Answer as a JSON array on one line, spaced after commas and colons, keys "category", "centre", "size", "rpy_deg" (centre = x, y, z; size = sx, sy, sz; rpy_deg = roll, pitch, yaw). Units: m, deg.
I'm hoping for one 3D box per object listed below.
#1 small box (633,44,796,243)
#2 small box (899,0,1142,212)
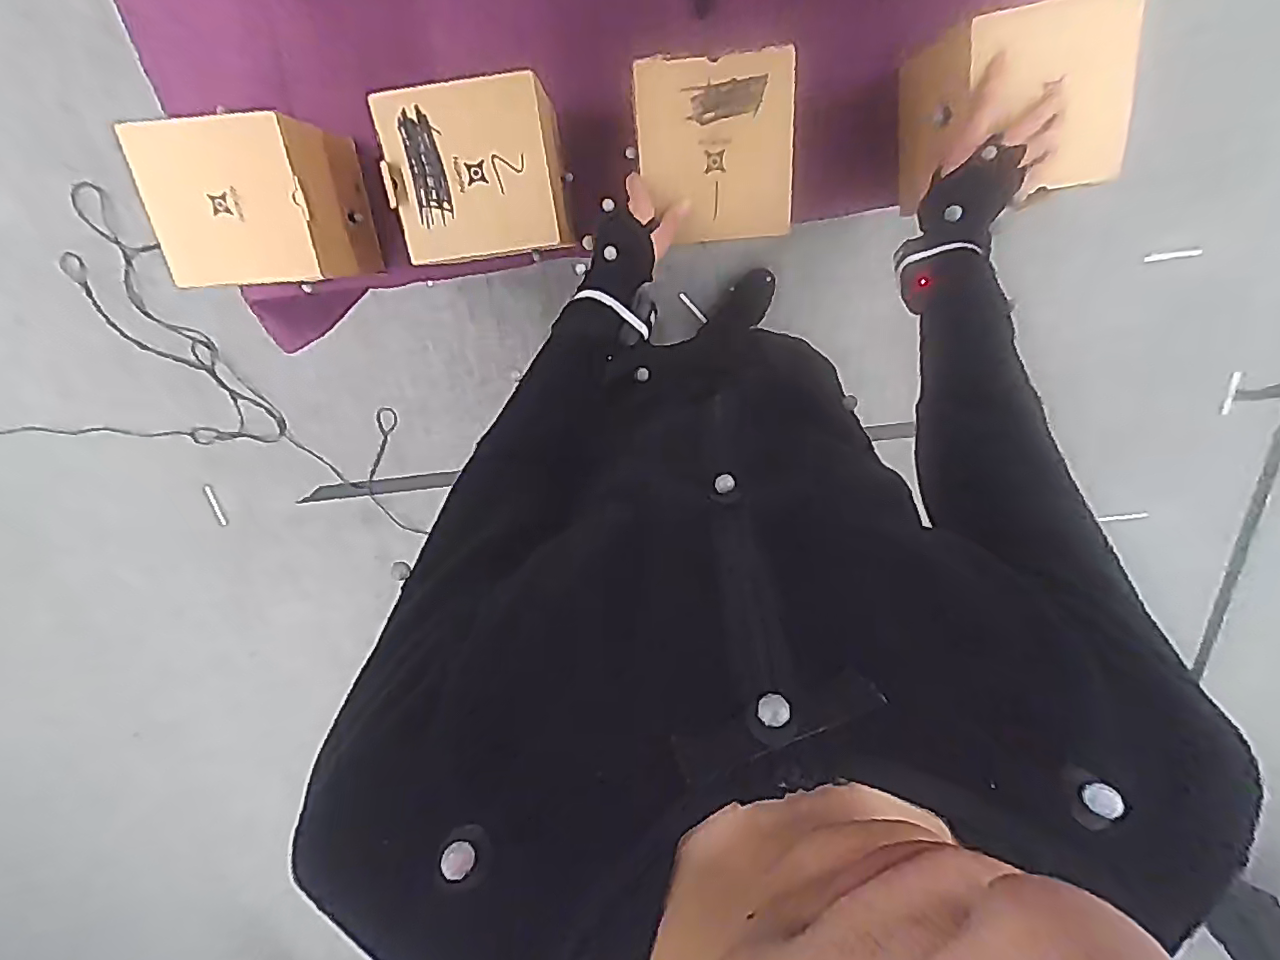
[{"category": "small box", "centre": [0.079, -0.383, 0.647], "size": [0.168, 0.176, 0.179], "rpy_deg": [-4, 114, 1]}, {"category": "small box", "centre": [0.418, -0.425, 0.629], "size": [0.168, 0.176, 0.179], "rpy_deg": [-9, 113, 5]}]
